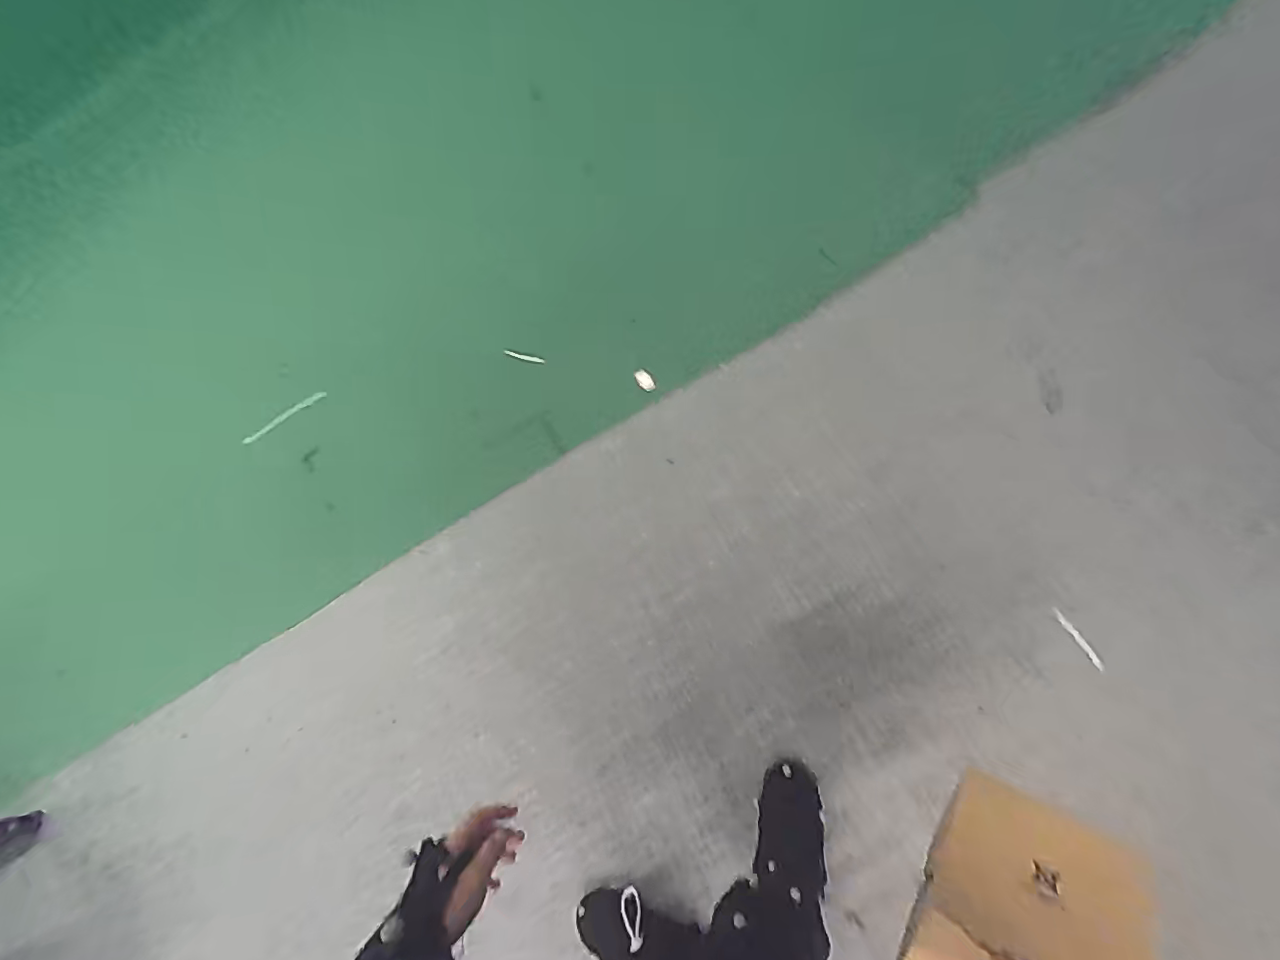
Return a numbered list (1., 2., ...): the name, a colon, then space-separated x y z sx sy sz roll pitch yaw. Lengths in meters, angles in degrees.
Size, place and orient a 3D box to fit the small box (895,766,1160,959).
1. small box: 0.374 0.444 0.540 0.168 0.176 0.179 20 37 32
